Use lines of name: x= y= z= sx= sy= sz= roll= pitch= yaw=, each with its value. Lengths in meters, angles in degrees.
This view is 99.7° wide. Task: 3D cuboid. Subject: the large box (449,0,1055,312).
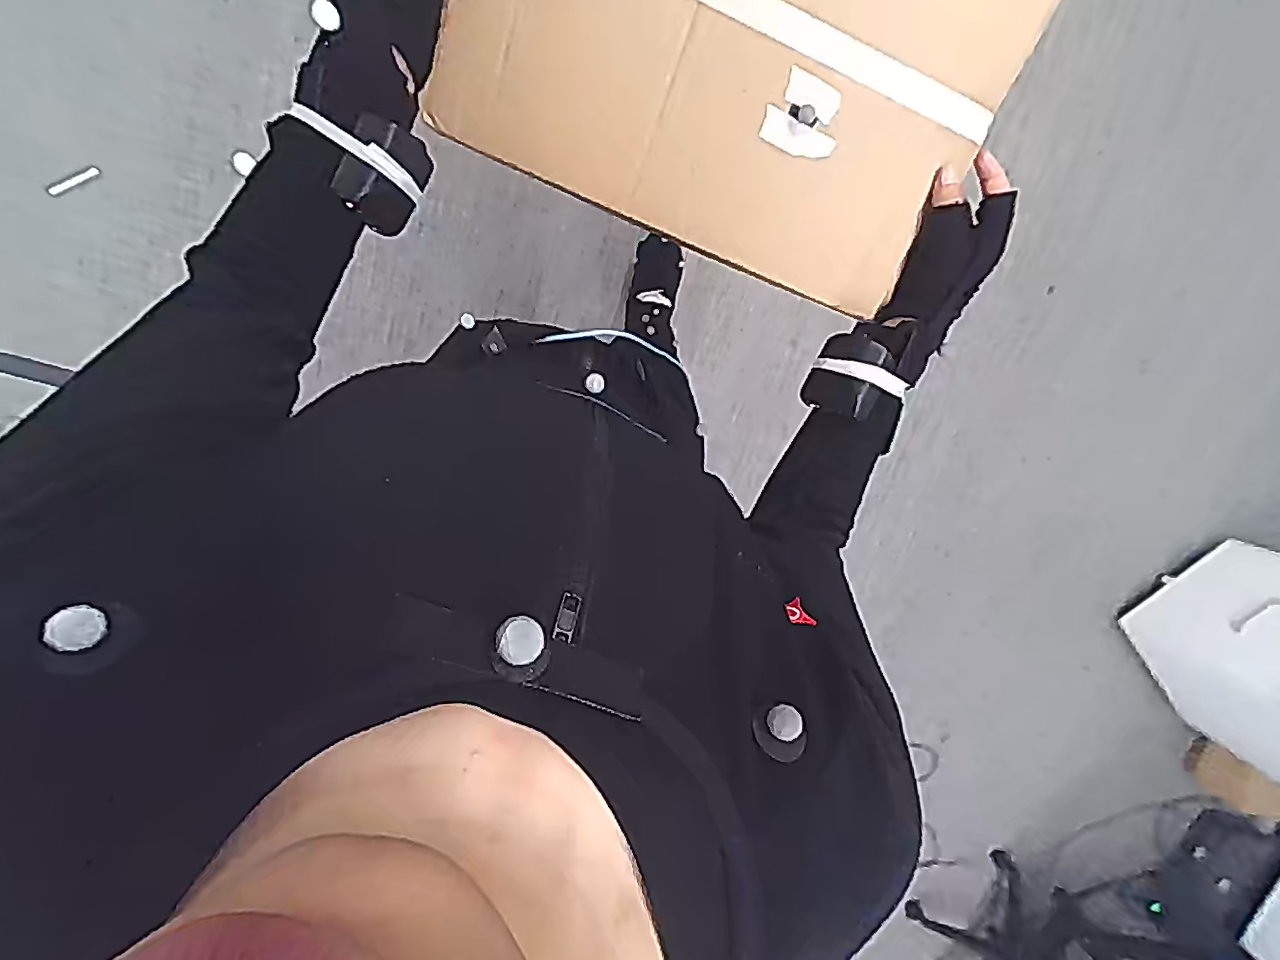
large box: x=0.082 y=-0.404 z=0.531 sx=0.408 sy=0.320 sz=0.320 roll=19 pitch=114 yaw=-10
